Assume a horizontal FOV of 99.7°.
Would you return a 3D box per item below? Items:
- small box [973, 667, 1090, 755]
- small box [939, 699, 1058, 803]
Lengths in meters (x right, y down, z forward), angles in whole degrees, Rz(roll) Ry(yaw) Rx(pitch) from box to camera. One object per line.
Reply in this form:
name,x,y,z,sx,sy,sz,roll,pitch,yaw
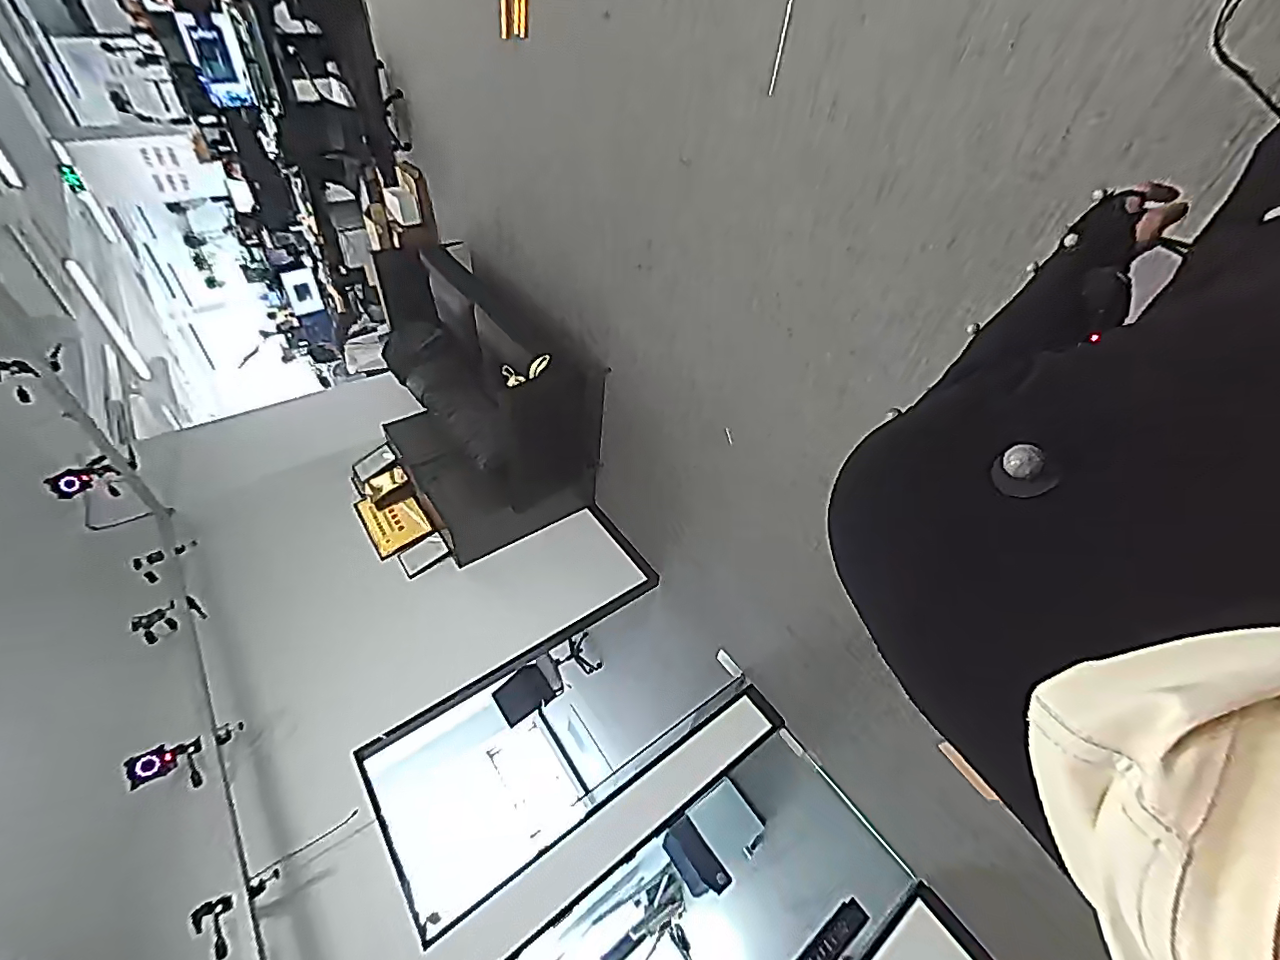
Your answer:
small box,1.085,0.653,1.500,0.168,0.176,0.179,50,149,28
small box,0.948,0.715,1.431,0.168,0.176,0.179,50,149,27
